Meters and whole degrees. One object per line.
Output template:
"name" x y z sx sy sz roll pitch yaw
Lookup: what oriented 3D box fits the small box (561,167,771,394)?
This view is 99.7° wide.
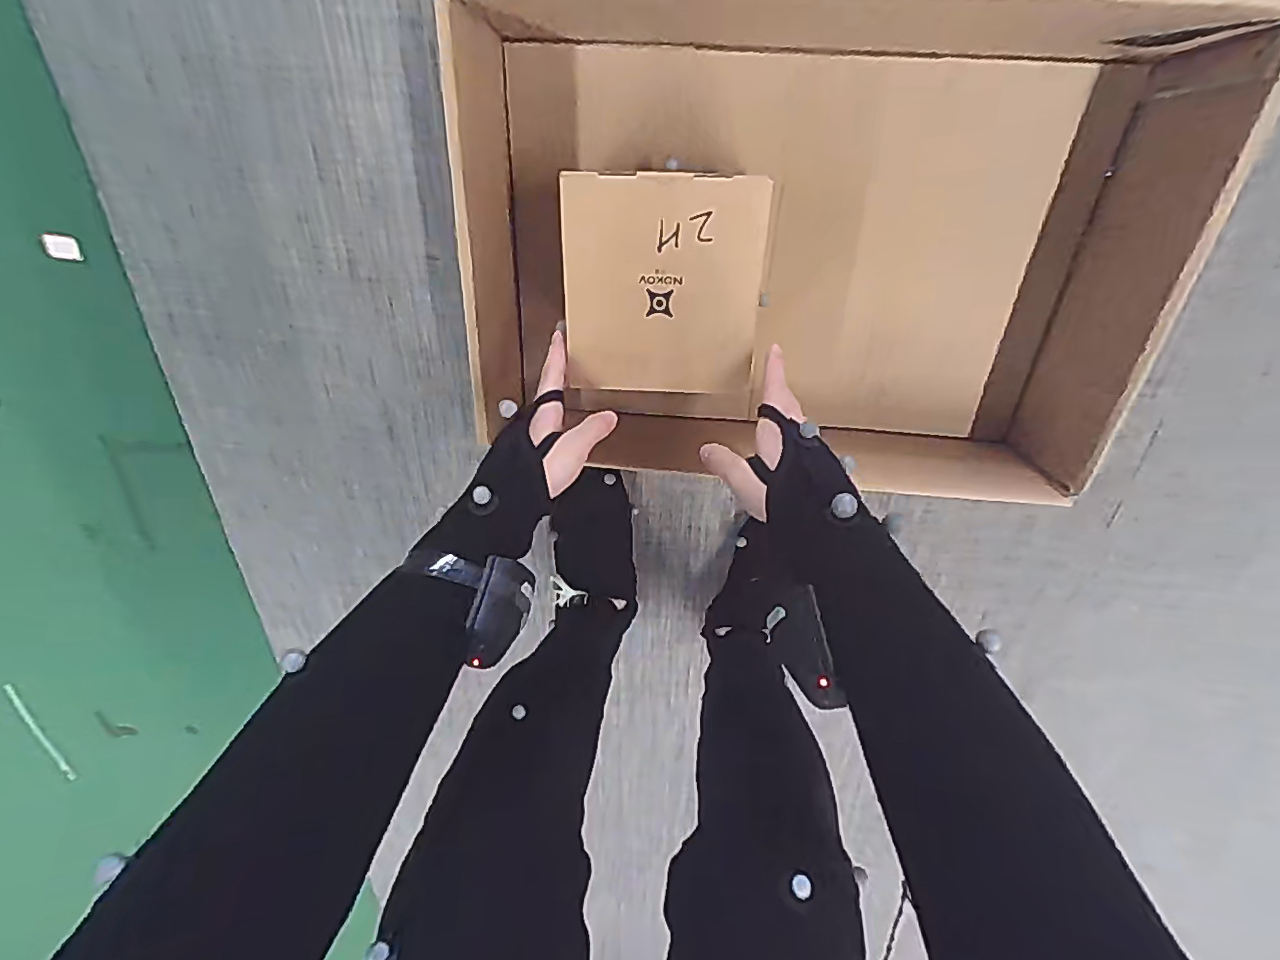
"small box" 0.023 -0.197 0.522 0.168 0.176 0.179 3 118 3
